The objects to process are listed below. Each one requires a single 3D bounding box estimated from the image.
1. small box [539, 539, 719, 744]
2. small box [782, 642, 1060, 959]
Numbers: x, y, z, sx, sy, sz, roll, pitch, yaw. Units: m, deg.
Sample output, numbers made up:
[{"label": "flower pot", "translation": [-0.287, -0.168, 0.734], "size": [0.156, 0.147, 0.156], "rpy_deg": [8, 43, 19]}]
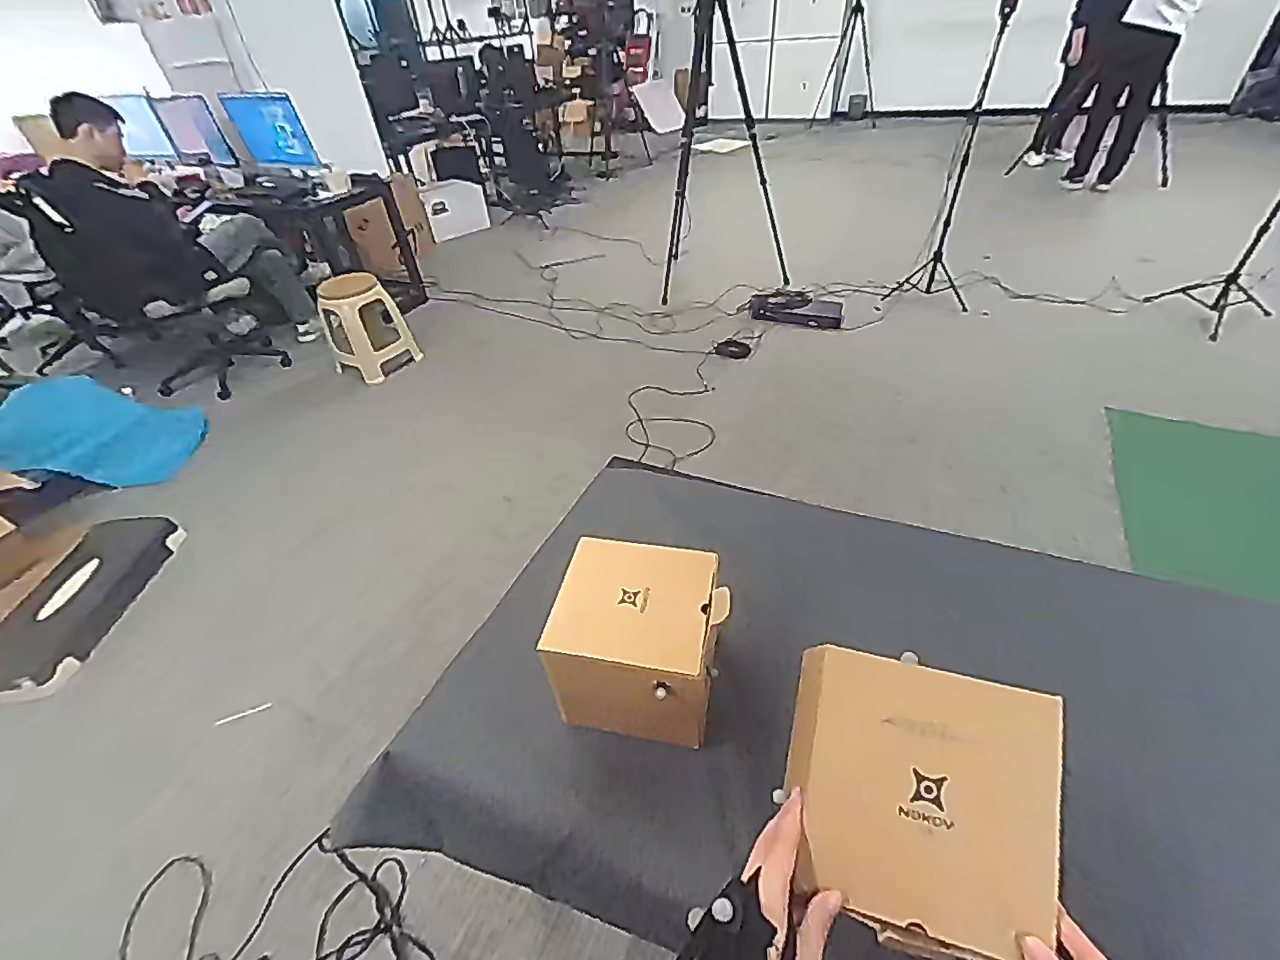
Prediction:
[{"label": "small box", "translation": [-0.001, 0.195, 0.658], "size": [0.179, 0.176, 0.168], "rpy_deg": [5, 41, 11]}, {"label": "small box", "translation": [0.218, 0.247, 0.459], "size": [0.168, 0.176, 0.179], "rpy_deg": [10, 73, 14]}]
